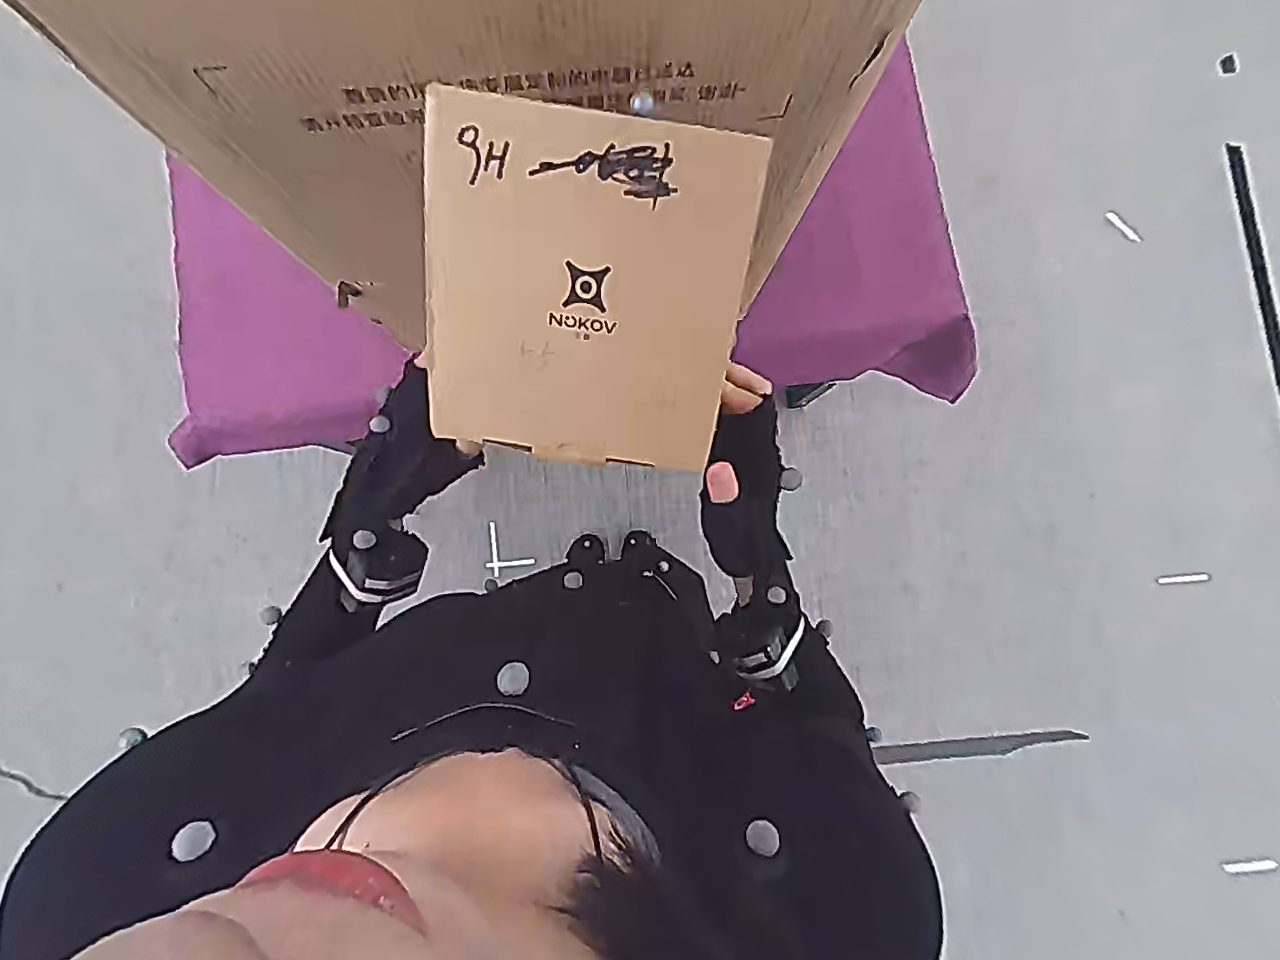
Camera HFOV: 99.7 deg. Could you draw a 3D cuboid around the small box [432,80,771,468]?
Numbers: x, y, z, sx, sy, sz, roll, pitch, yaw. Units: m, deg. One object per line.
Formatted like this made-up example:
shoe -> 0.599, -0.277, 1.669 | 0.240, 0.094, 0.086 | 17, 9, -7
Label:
small box -> -0.026, -0.127, 0.361 | 0.168, 0.176, 0.179 | 8, 112, -2
